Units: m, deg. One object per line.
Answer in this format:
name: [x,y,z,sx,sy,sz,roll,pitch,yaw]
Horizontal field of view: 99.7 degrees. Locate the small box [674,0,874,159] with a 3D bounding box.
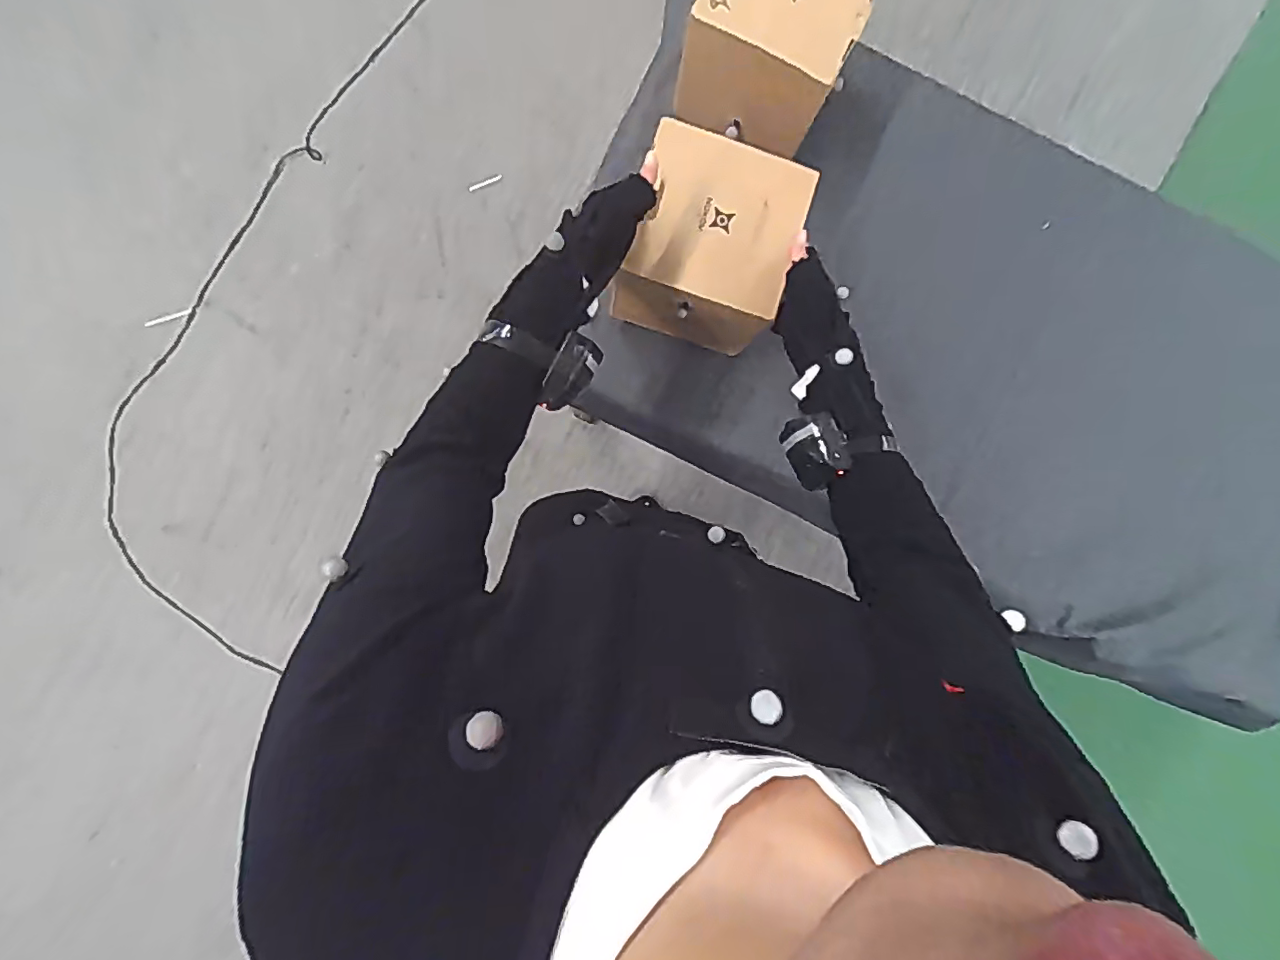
small box: [0.160,-0.539,0.677,0.179,0.176,0.168,26,89,-3]

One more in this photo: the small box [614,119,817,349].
small box: [0.074,-0.269,0.637,0.179,0.176,0.168,17,90,-6]
